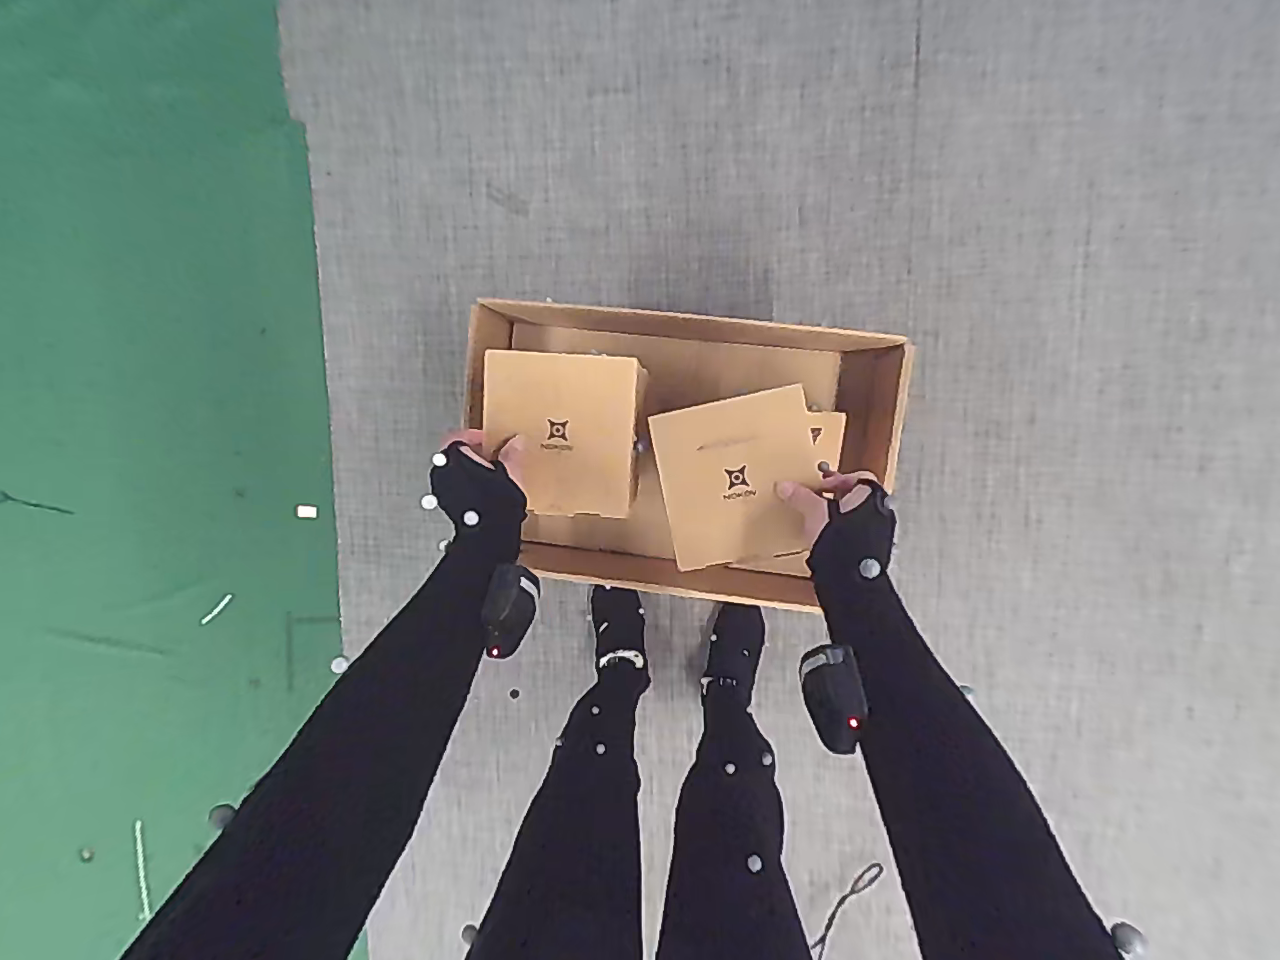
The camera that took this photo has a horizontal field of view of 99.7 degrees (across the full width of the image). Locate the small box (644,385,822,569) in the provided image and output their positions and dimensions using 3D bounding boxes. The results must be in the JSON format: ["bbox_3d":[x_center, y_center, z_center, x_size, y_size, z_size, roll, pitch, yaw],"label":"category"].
[{"bbox_3d":[0.116,-0.007,0.649,0.168,0.176,0.179,-11,92,14],"label":"small box"}]
